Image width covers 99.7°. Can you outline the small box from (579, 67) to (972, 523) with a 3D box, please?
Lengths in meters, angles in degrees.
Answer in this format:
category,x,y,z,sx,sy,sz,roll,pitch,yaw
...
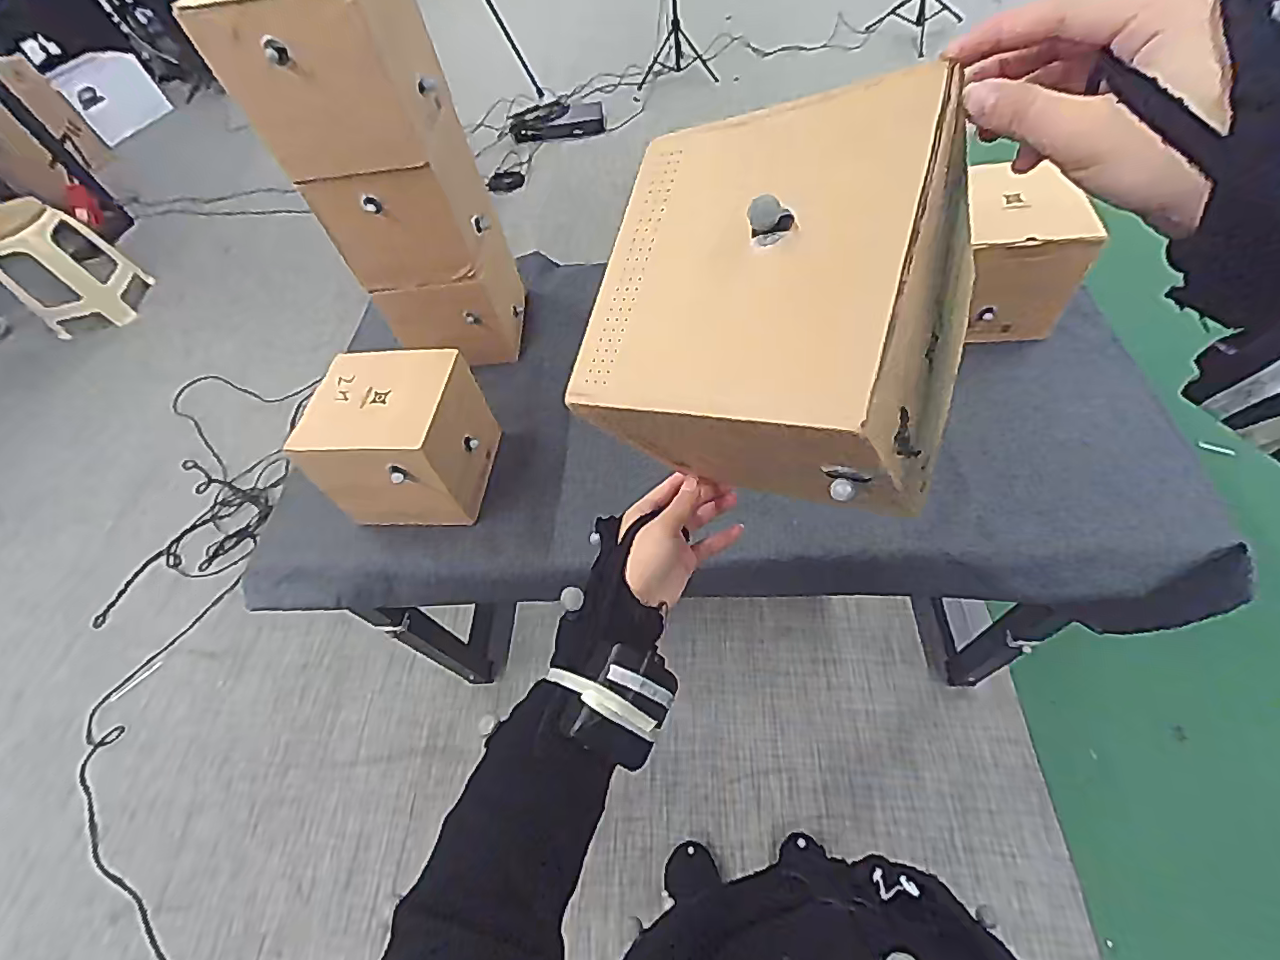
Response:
category,x,y,z,sx,sy,sz,roll,pitch,yaw
small box,0.088,-0.090,0.332,0.176,0.168,0.179,11,80,37

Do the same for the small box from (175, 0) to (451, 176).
category,x,y,z,sx,sy,sz,roll,pitch,yaw
small box,-0.340,-0.467,0.605,0.179,0.176,0.168,-3,59,5

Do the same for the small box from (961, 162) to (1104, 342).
category,x,y,z,sx,sy,sz,roll,pitch,yaw
small box,0.495,-0.318,0.772,0.168,0.176,0.179,0,59,9

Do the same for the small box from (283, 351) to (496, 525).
category,x,y,z,sx,sy,sz,roll,pitch,yaw
small box,-0.310,-0.051,0.718,0.179,0.176,0.168,0,54,8

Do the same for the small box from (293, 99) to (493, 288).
category,x,y,z,sx,sy,sz,roll,pitch,yaw
small box,-0.323,-0.387,0.748,0.179,0.176,0.168,-5,59,4
